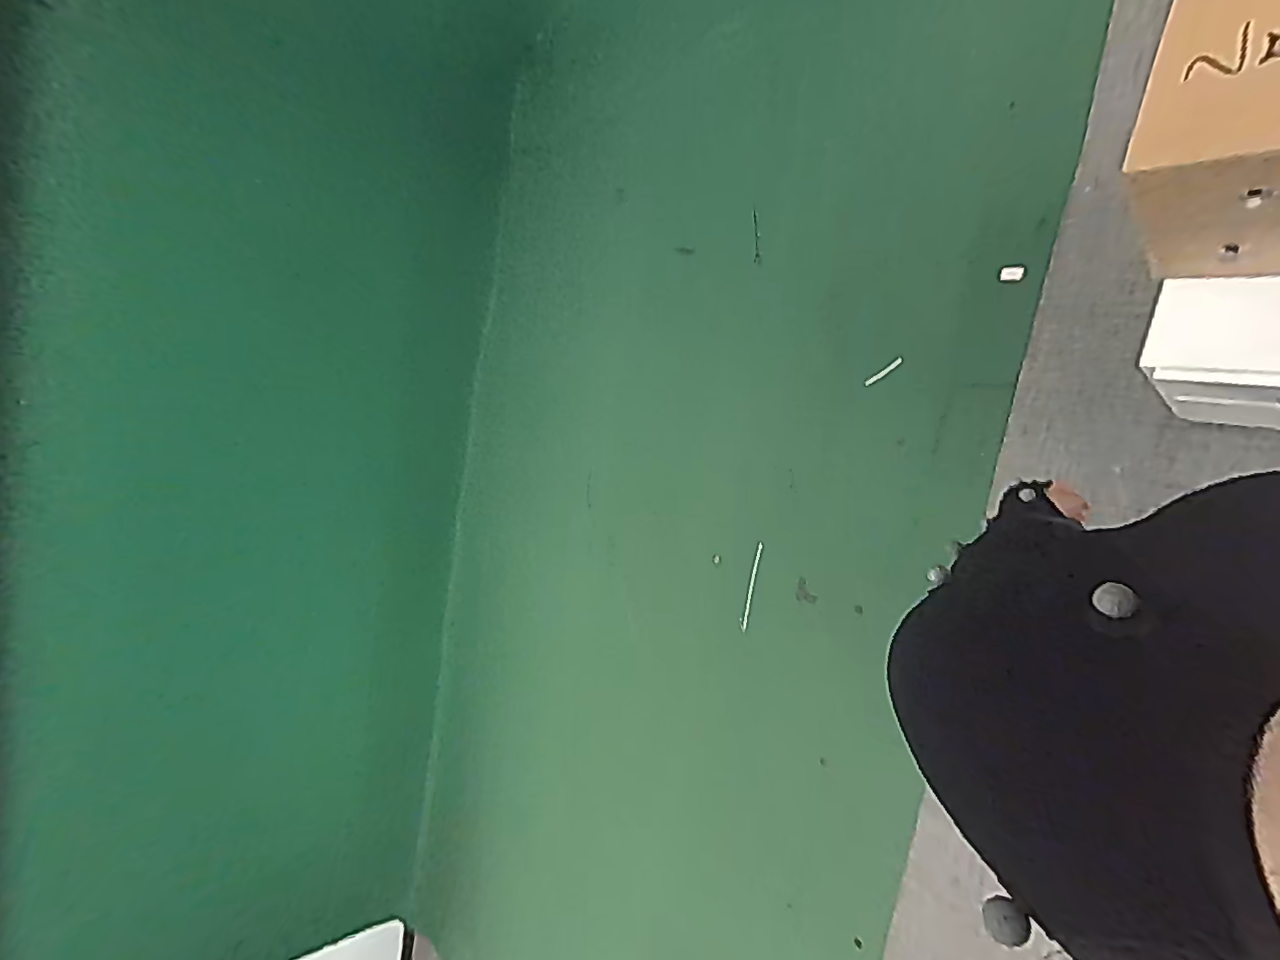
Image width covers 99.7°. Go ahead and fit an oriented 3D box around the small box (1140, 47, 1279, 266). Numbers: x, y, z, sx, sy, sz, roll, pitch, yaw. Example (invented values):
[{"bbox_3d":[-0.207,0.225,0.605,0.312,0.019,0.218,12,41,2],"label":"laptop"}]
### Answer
[{"bbox_3d":[0.688,-0.340,0.584,0.179,0.176,0.168,19,102,45],"label":"small box"}]
